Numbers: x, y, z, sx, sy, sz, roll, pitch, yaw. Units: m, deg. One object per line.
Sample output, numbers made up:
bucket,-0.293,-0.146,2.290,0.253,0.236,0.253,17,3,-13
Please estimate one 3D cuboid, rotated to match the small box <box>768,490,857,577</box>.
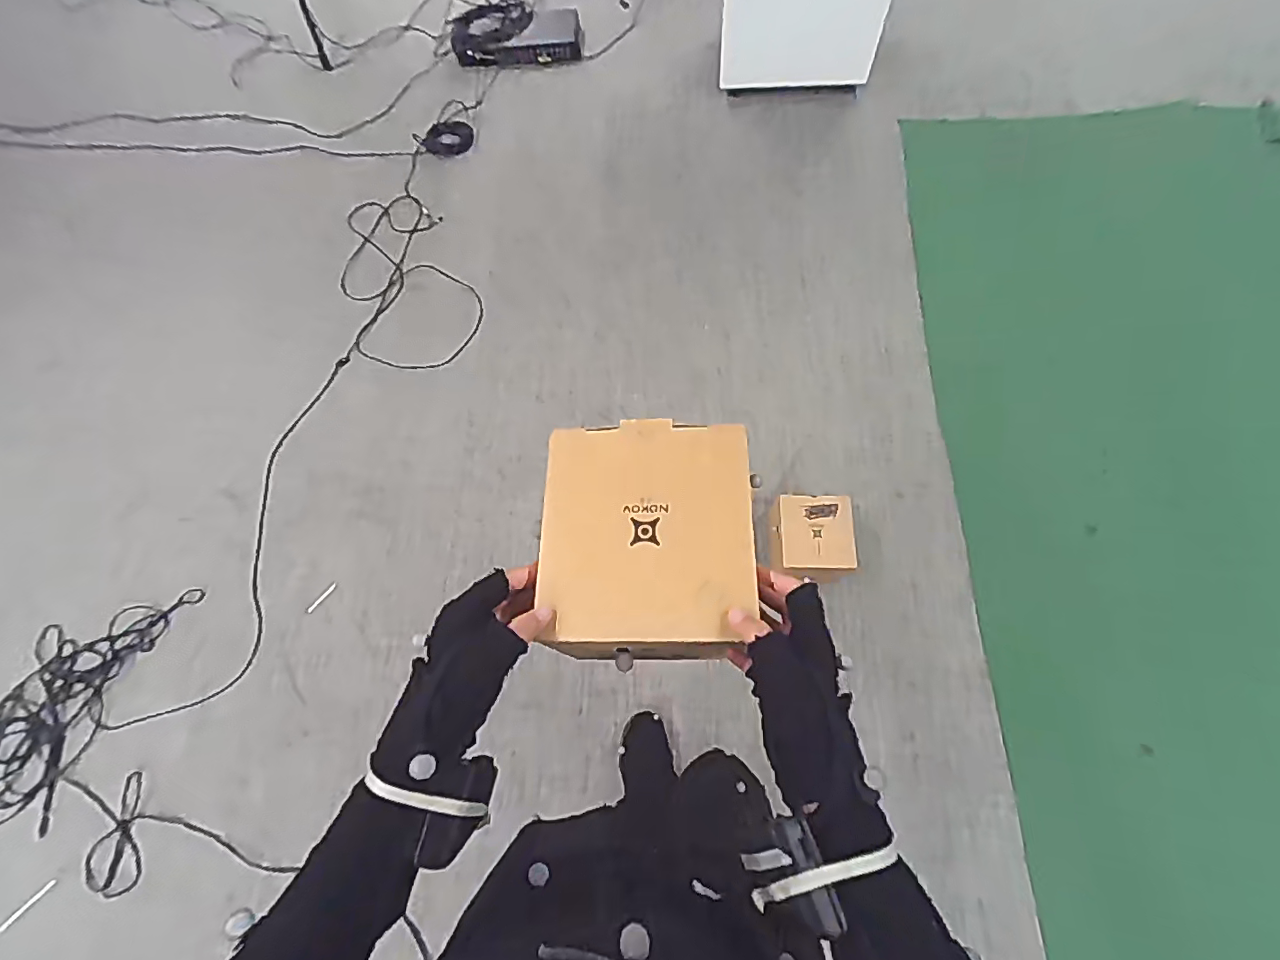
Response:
small box,0.410,0.134,1.314,0.168,0.176,0.179,0,71,4
